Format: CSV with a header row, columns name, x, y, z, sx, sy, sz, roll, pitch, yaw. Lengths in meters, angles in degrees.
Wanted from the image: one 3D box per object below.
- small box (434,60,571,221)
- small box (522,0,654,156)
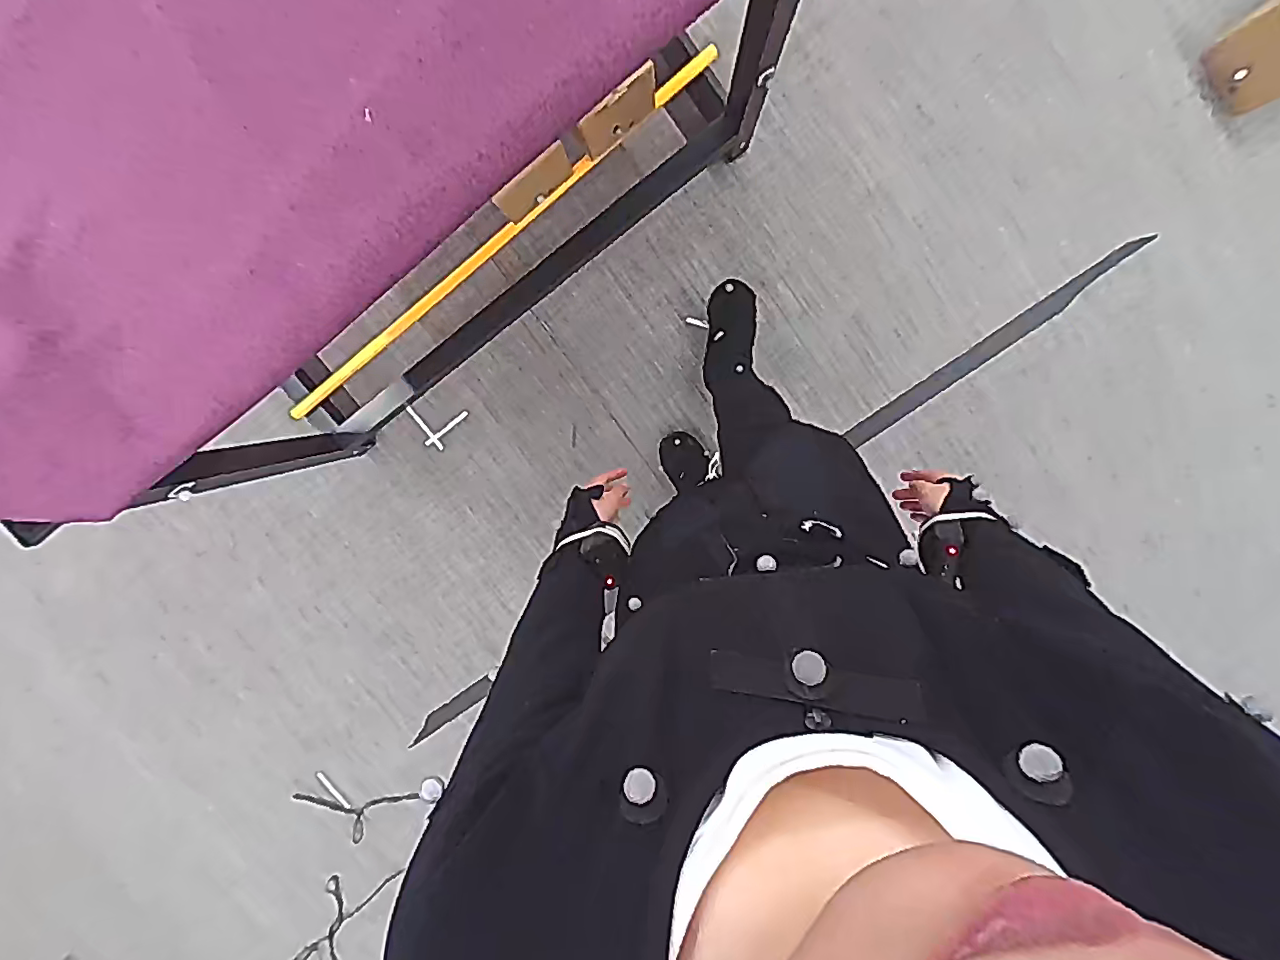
name,x,y,z,sx,sy,sz,roll,pitch,yaw
small box,-0.256,-0.640,1.048,0.168,0.176,0.179,-37,99,8
small box,-0.090,-0.761,1.019,0.168,0.176,0.179,-36,98,8
